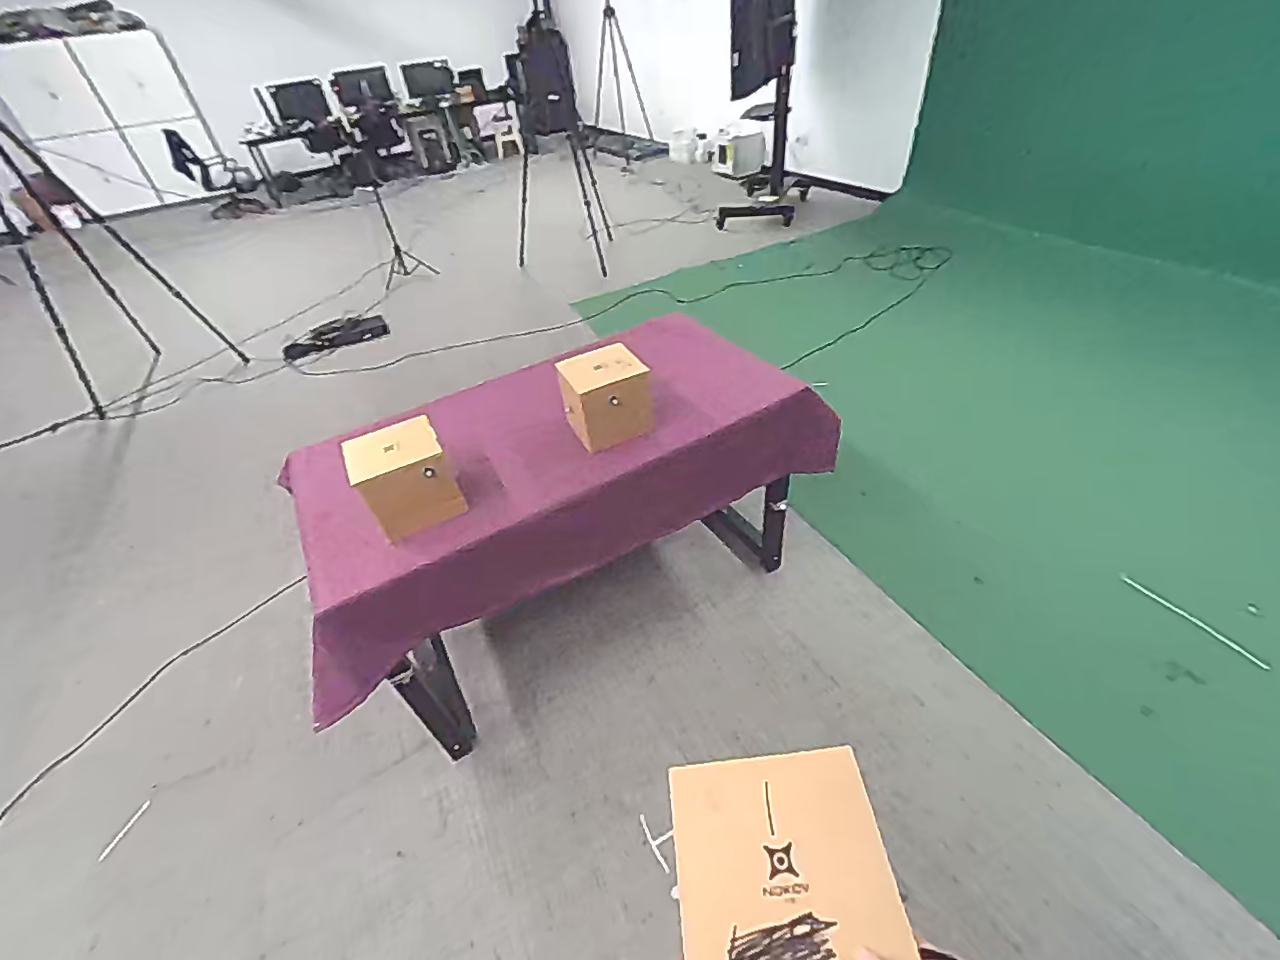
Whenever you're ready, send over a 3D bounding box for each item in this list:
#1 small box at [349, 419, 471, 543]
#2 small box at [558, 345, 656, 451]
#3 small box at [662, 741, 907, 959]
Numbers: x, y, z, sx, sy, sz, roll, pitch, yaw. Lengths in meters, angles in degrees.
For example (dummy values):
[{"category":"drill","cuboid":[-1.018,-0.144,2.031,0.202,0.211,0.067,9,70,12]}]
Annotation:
[{"category":"small box","cuboid":[-0.484,0.003,1.148,0.179,0.176,0.168,-24,43,-18]},{"category":"small box","cuboid":[-0.076,-0.195,1.297,0.179,0.176,0.168,-22,43,-14]},{"category":"small box","cuboid":[0.119,0.361,0.478,0.168,0.176,0.179,-11,42,5]}]
